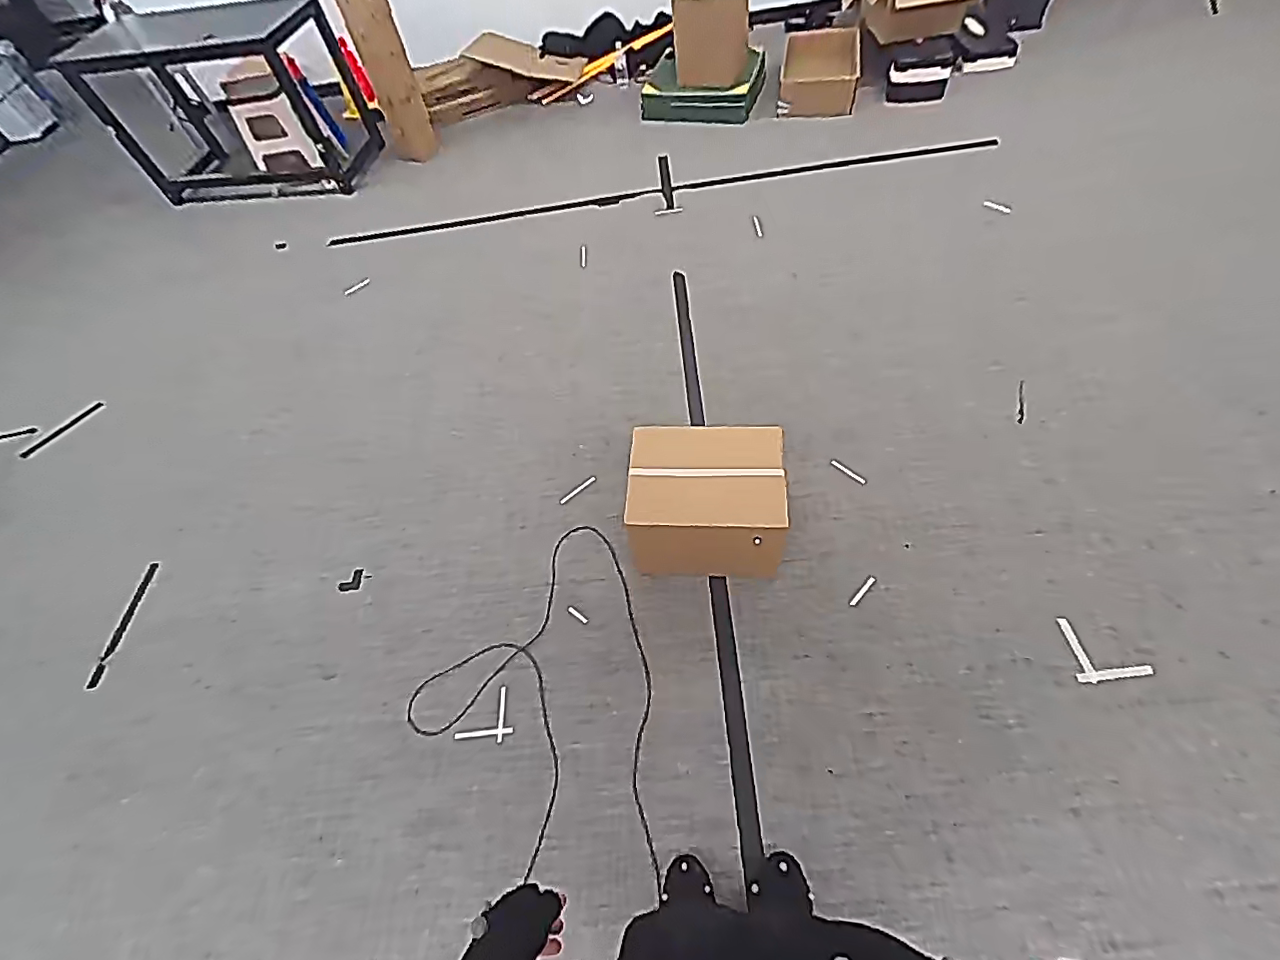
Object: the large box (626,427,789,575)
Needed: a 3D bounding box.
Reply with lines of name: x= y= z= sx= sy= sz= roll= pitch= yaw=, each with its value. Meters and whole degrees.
large box: x=0.188 y=0.068 z=1.524 sx=0.408 sy=0.320 sz=0.320 roll=0 pitch=57 yaw=7
